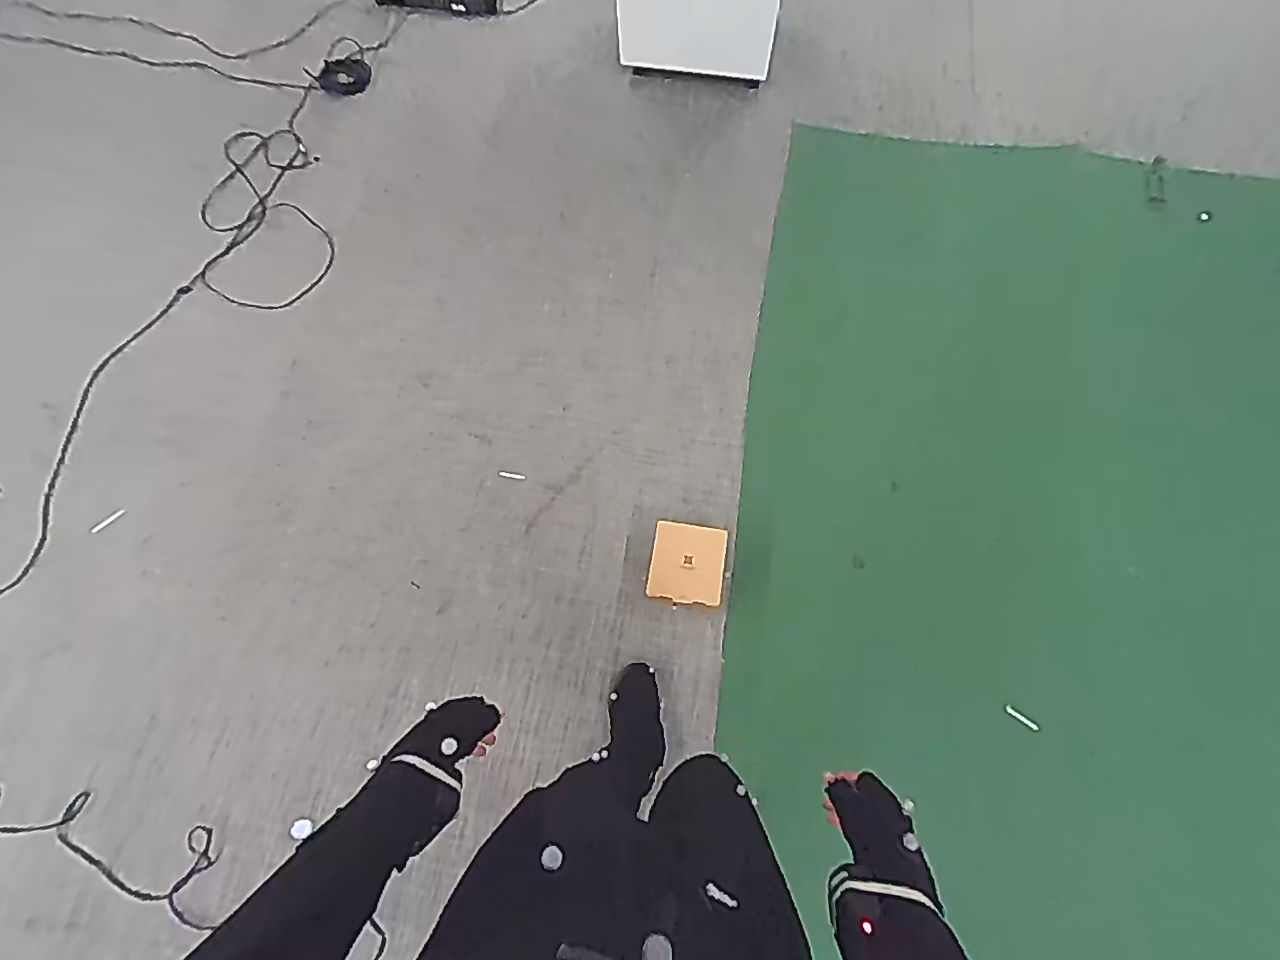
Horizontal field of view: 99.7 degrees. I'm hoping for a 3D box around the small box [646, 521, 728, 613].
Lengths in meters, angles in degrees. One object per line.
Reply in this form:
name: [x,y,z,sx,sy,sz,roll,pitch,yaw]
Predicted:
small box: [0.109,0.214,1.296,0.168,0.176,0.179,8,72,5]
